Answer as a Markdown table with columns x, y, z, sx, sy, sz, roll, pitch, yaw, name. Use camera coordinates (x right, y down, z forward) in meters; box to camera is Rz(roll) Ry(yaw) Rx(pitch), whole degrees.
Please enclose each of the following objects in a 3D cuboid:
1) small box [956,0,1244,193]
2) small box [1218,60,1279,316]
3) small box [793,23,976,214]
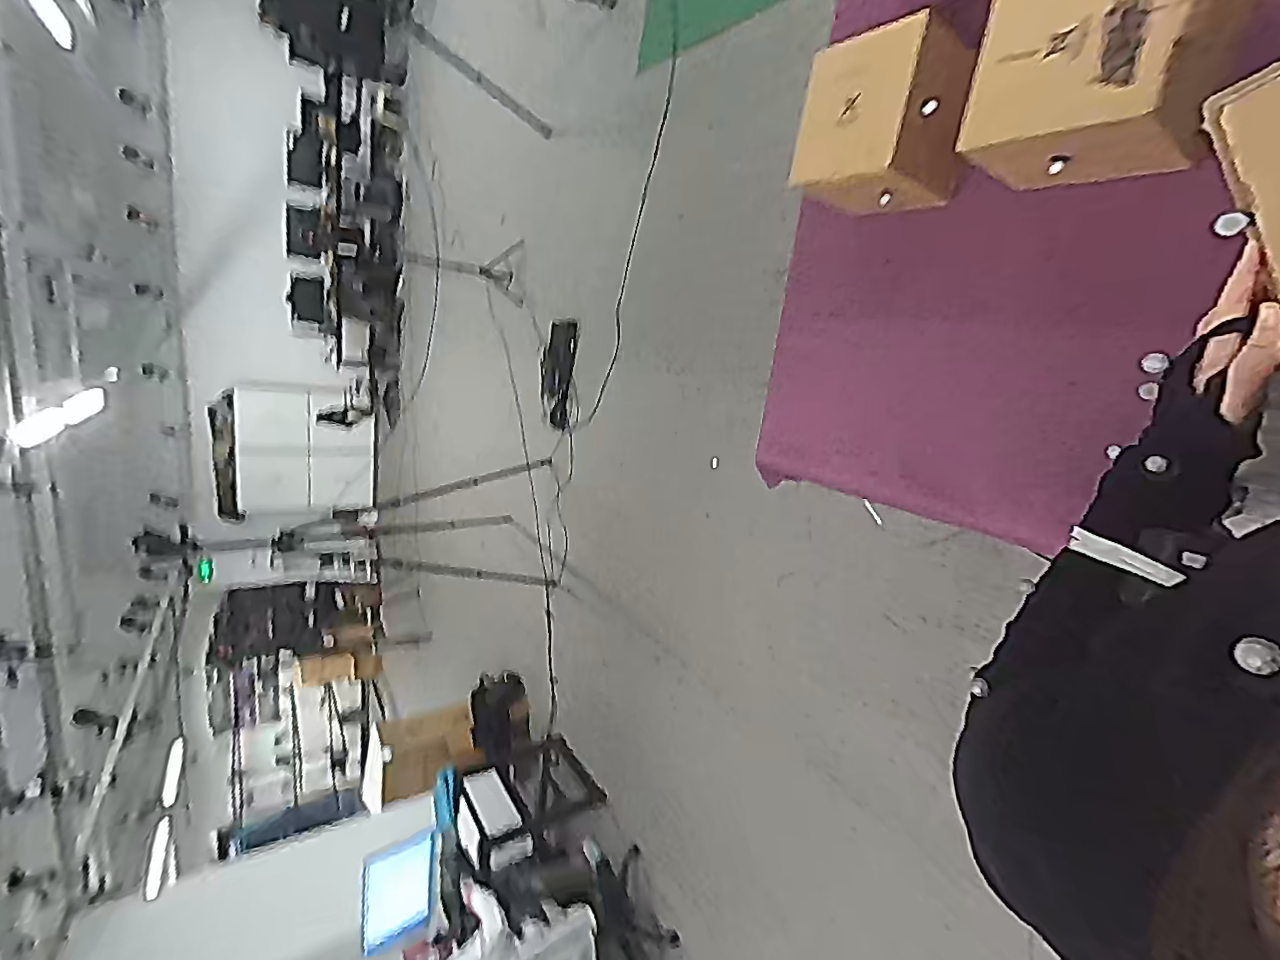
| x | y | z | sx | sy | sz | roll | pitch | yaw | name |
| --- | --- | --- | --- | --- | --- | --- | --- | --- | --- |
| 0.491 | -0.429 | 0.584 | 0.179 | 0.176 | 0.168 | 28 | 113 | 53 | small box |
| 0.443 | -0.176 | 0.282 | 0.168 | 0.176 | 0.179 | -19 | 102 | 50 | small box |
| 0.355 | -0.498 | 0.782 | 0.168 | 0.176 | 0.179 | 29 | 114 | 51 | small box |
